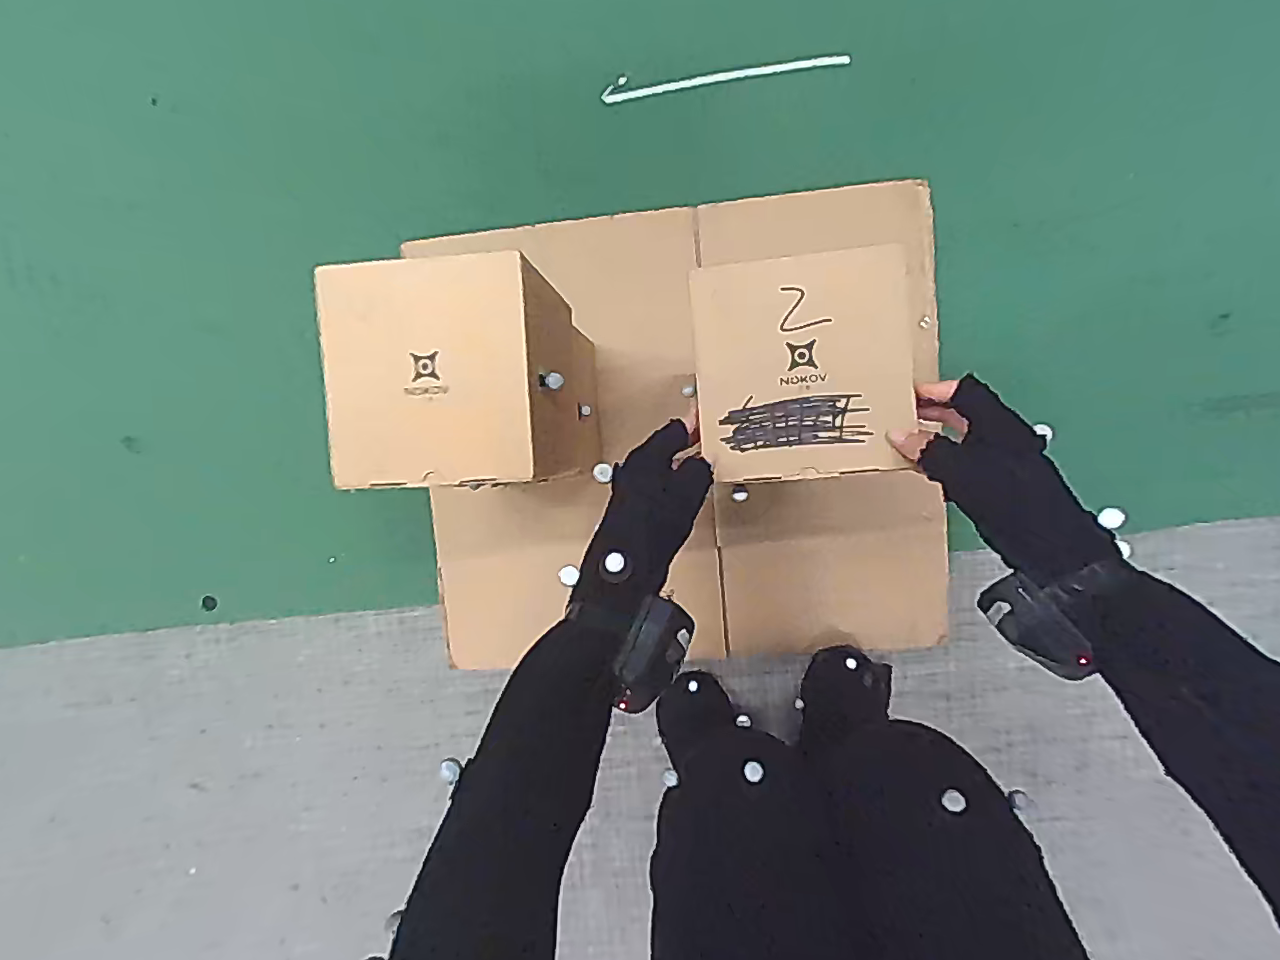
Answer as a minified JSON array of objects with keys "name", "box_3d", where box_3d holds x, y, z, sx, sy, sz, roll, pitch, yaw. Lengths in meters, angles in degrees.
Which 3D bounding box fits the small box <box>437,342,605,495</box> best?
[{"name":"small box","box_3d":[-0.140,-0.079,0.662,0.168,0.176,0.179,-3,92,6]}]

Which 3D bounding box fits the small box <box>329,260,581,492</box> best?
[{"name":"small box","box_3d":[-0.153,-0.082,0.499,0.168,0.176,0.179,-2,93,6]}]
